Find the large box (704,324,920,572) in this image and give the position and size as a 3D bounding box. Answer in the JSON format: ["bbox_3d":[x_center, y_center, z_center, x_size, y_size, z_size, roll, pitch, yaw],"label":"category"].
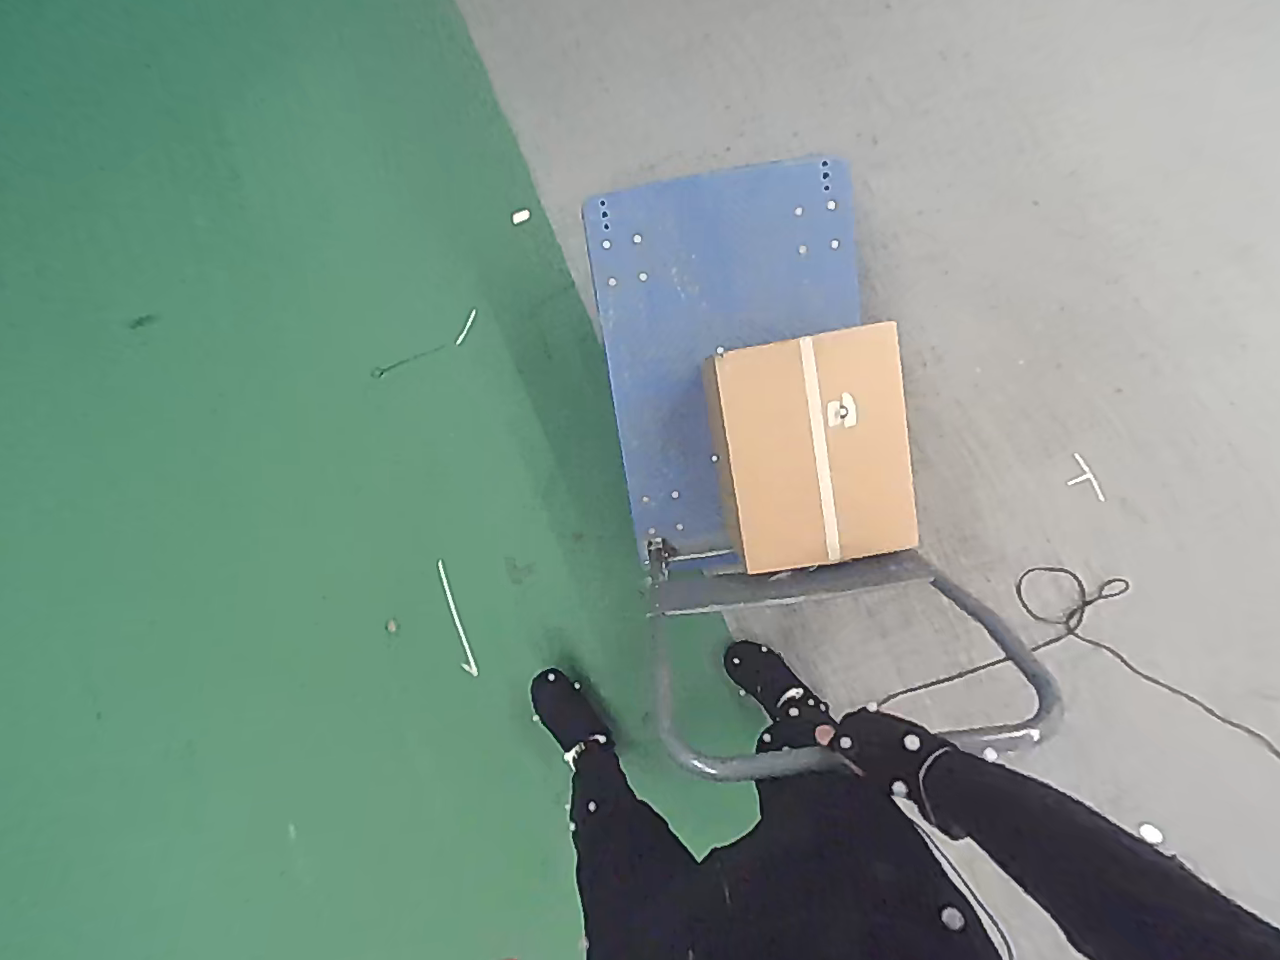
[{"bbox_3d":[0.326,-0.070,1.110,0.320,0.320,0.408,-11,98,3],"label":"large box"}]
